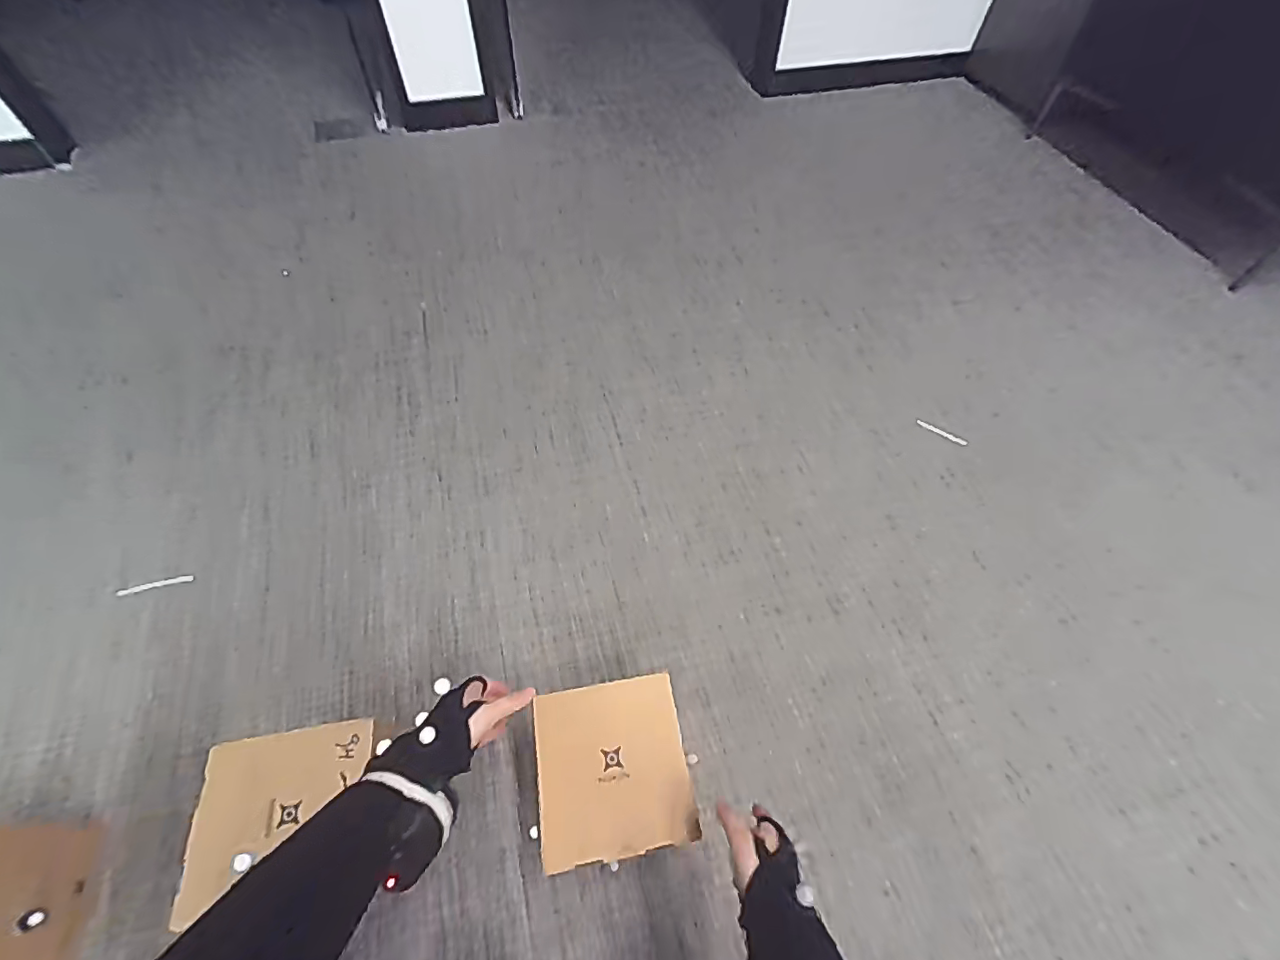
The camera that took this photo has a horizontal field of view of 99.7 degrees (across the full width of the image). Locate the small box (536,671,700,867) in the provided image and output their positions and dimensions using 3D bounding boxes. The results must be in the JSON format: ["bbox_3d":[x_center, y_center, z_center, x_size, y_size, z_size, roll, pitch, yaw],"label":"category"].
[{"bbox_3d":[-0.034,0.358,0.670,0.168,0.176,0.179,-8,57,-7],"label":"small box"}]

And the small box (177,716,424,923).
[{"bbox_3d":[-0.372,0.392,0.633,0.179,0.176,0.168,-7,57,-7],"label":"small box"}]
